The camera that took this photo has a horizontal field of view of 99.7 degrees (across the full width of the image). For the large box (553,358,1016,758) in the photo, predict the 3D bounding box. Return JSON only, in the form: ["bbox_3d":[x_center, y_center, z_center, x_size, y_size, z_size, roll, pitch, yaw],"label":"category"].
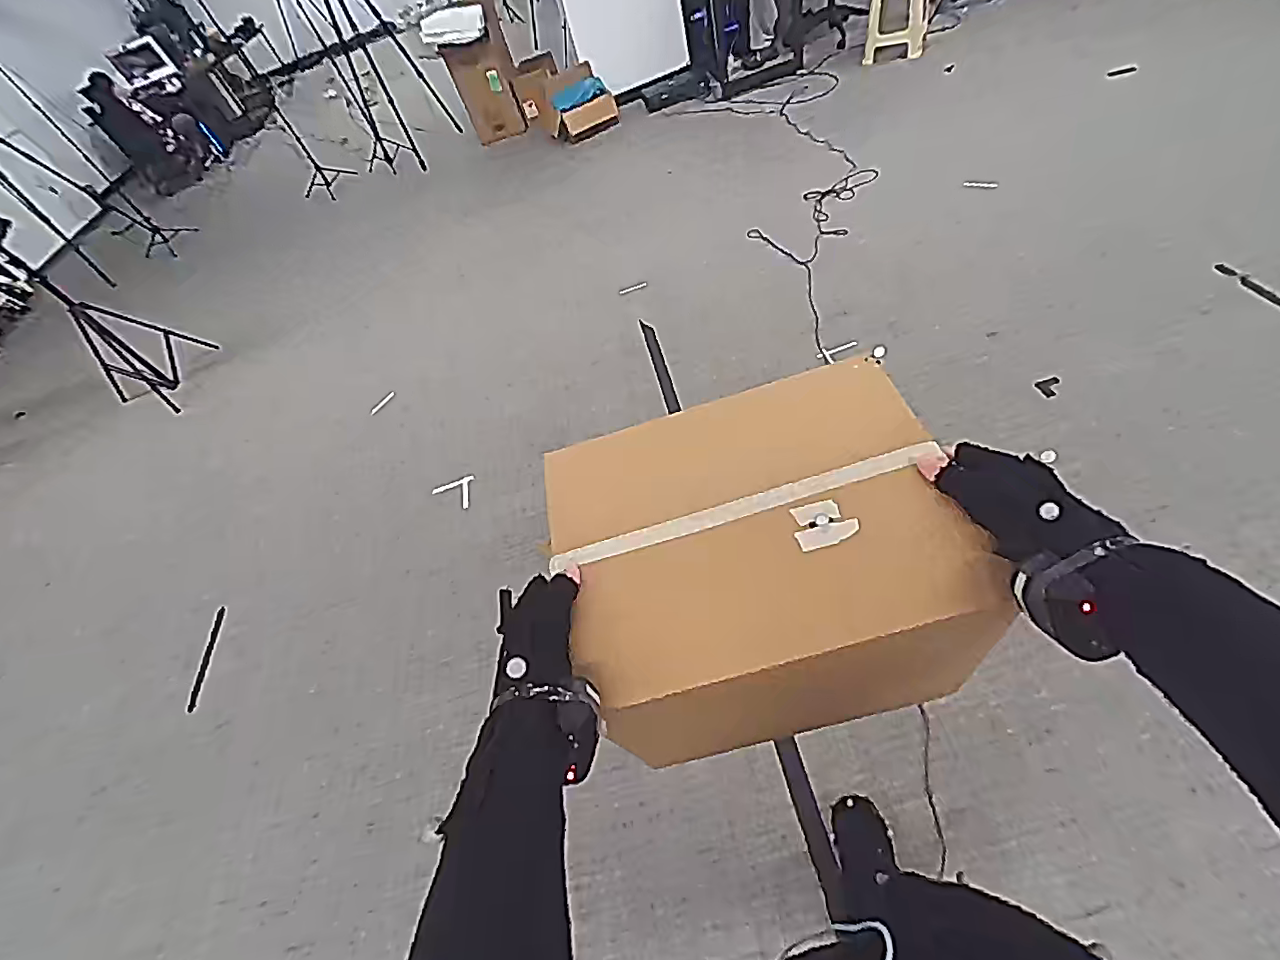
[{"bbox_3d":[0.142,0.113,0.683,0.408,0.320,0.320,-17,53,4],"label":"large box"}]
